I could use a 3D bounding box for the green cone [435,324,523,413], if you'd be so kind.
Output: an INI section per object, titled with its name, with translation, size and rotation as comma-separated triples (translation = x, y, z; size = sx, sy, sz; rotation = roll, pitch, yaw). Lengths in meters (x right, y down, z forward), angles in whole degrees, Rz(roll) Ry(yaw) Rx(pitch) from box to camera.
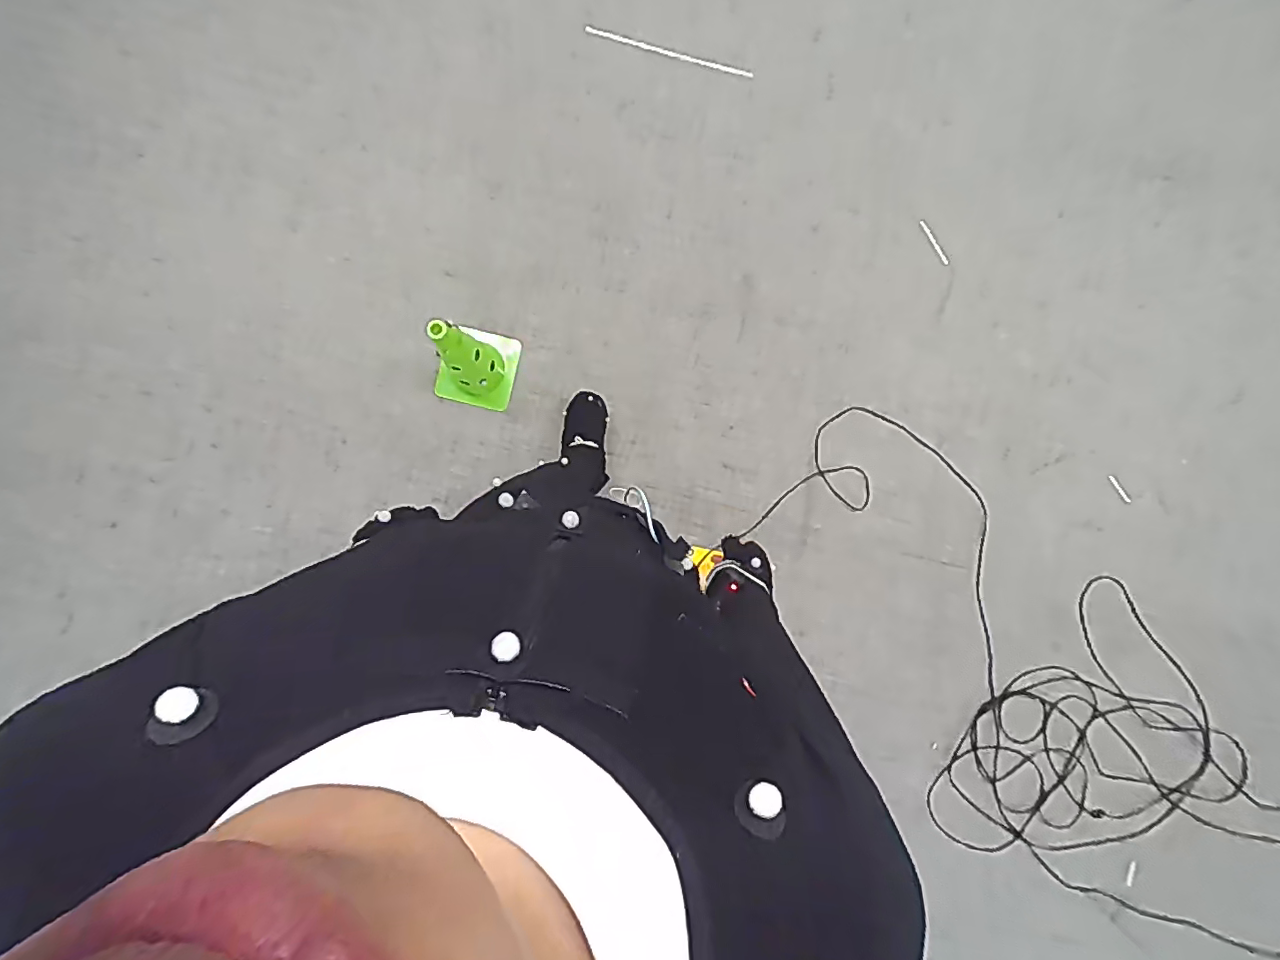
[green cone]
translation = -0.420, -0.296, 1.286
size = 0.202, 0.368, 0.200
rotation = 13, 89, -4
